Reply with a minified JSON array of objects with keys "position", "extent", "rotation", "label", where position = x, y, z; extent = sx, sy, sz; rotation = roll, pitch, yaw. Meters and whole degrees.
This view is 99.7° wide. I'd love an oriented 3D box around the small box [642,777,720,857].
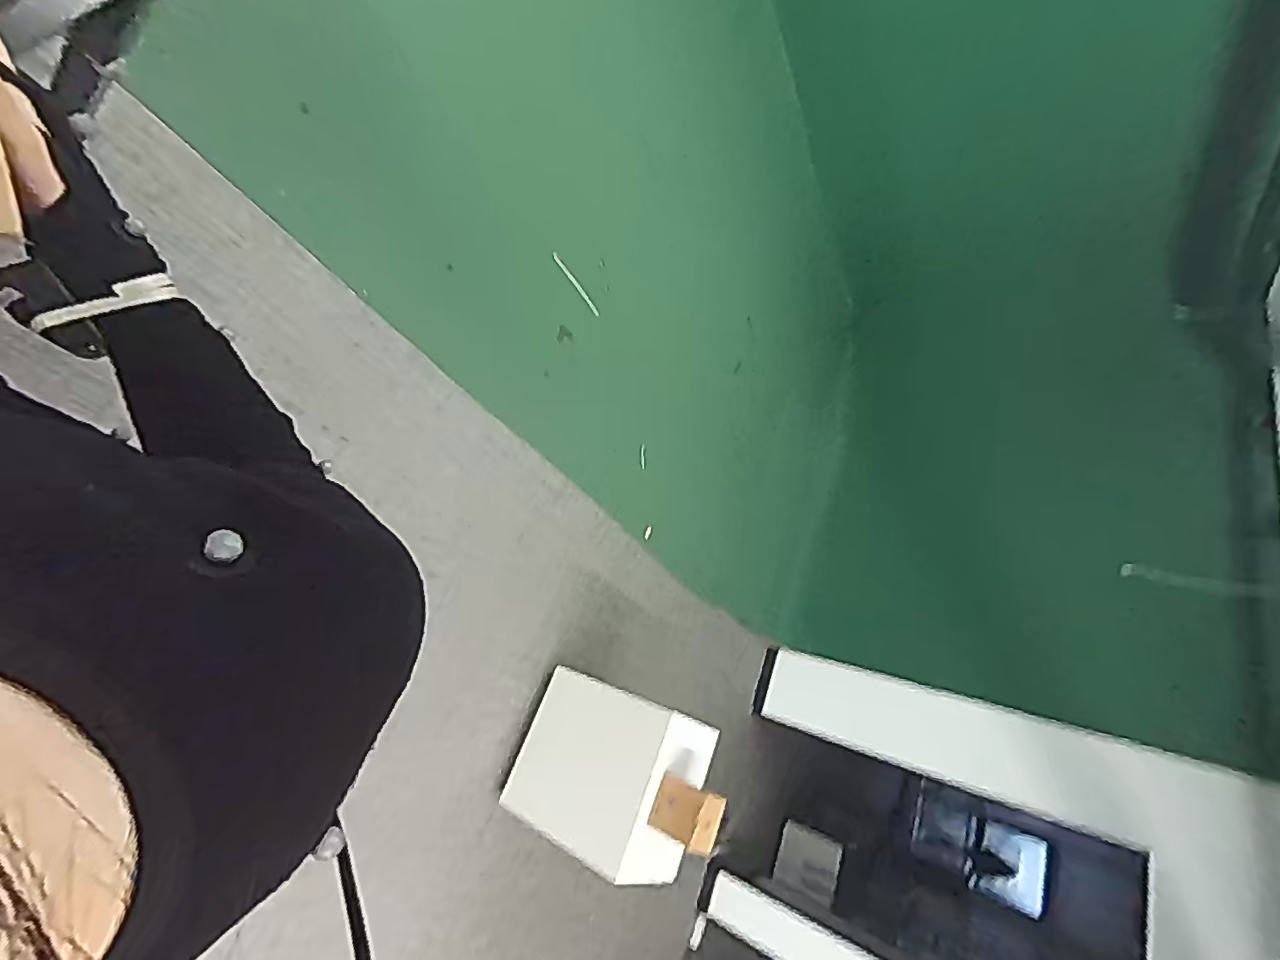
[{"position":[0.134,1.089,1.755],"extent":[0.179,0.176,0.168],"rotation":[50,55,-45],"label":"small box"}]
